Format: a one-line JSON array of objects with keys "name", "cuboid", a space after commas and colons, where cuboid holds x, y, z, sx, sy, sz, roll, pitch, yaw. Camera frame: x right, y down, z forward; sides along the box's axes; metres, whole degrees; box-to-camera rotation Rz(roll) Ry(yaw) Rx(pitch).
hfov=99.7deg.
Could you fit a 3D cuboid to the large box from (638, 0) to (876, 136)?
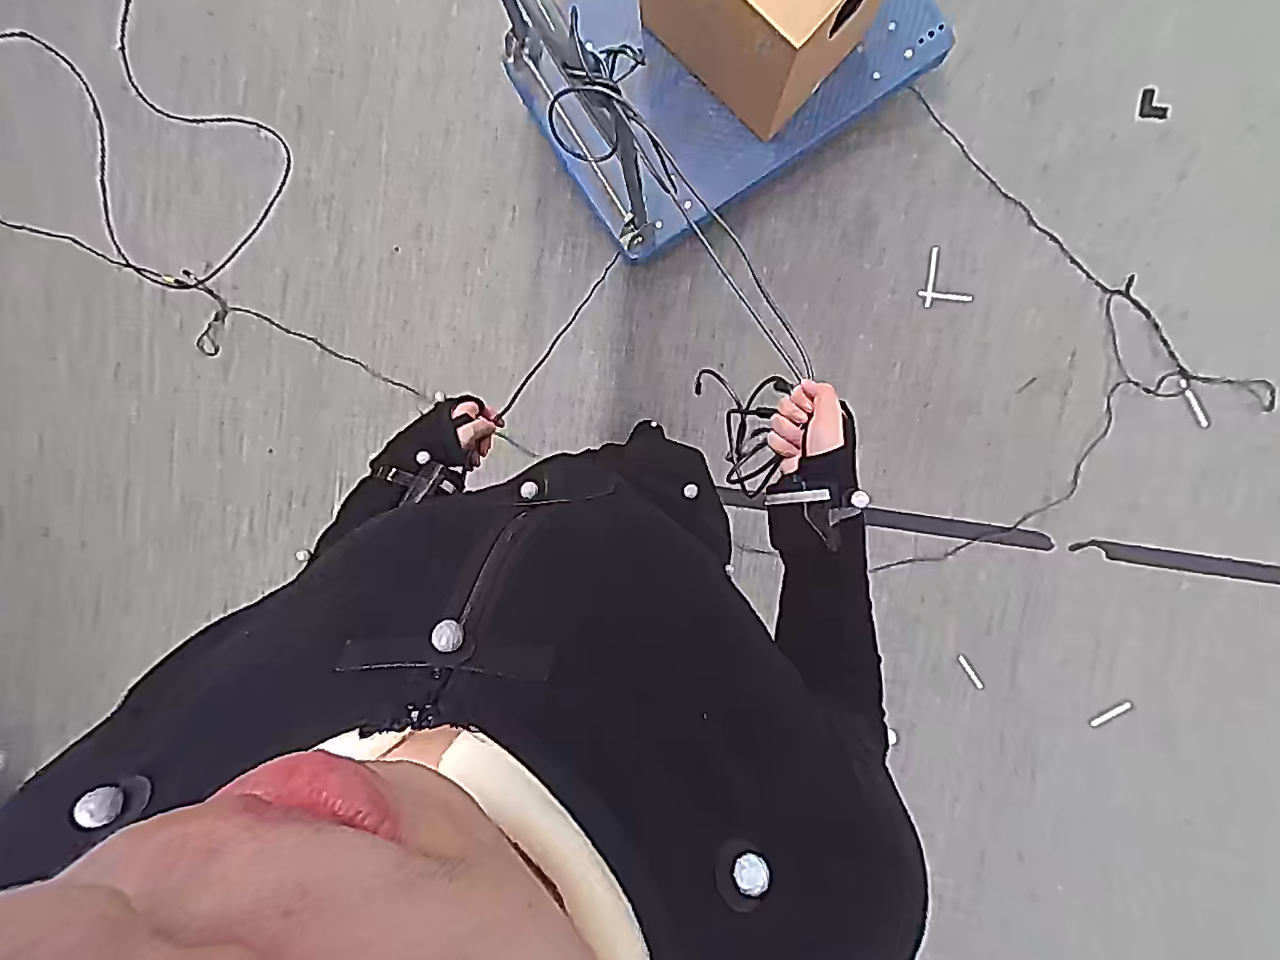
[{"name": "large box", "cuboid": [0.236, -1.003, 1.060, 0.408, 0.320, 0.320, 43, 96, -2]}]
